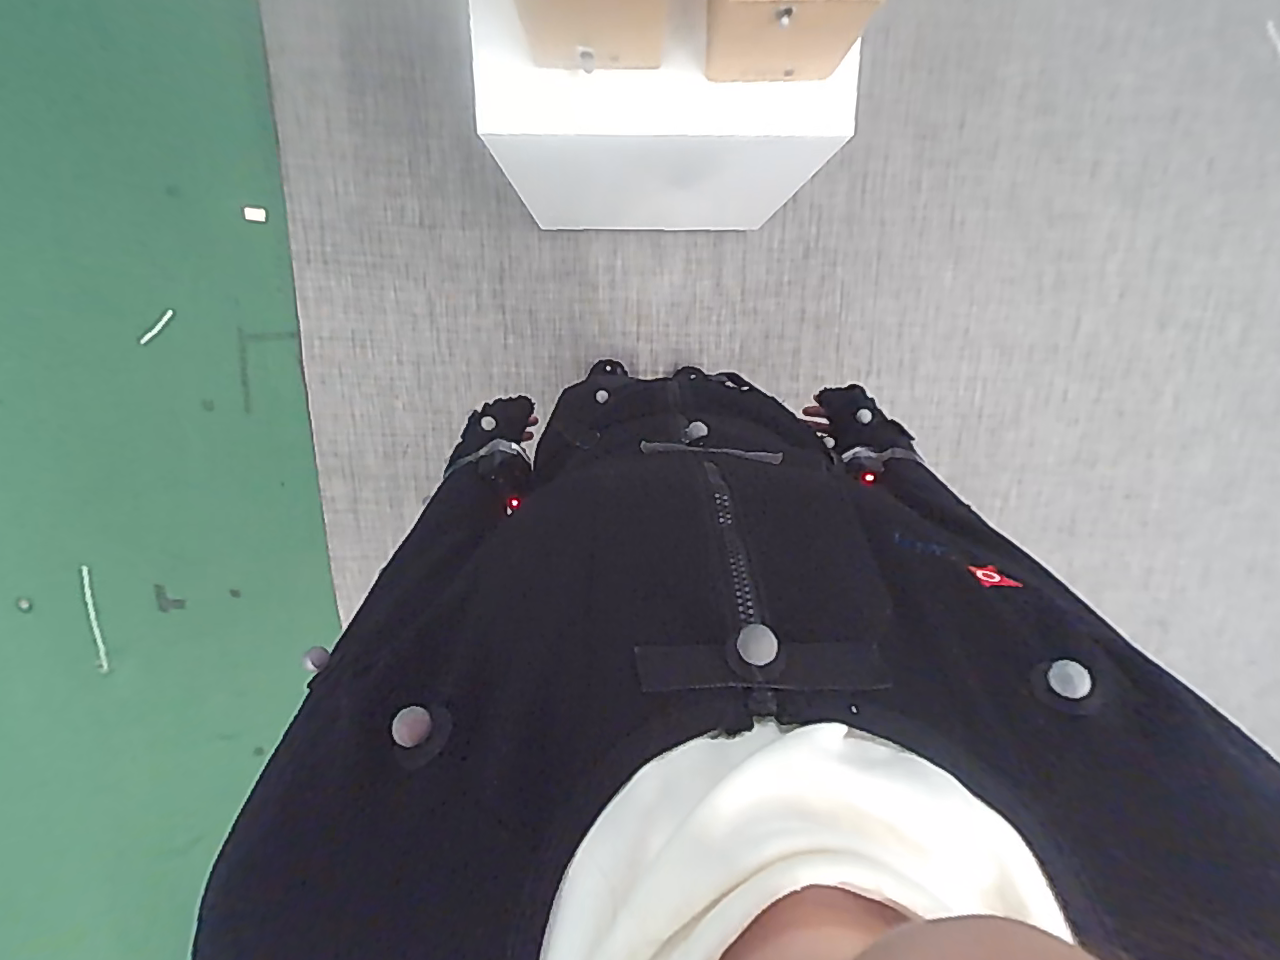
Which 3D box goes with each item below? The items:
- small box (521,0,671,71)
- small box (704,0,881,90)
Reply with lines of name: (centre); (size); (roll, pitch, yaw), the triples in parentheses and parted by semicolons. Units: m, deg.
small box: (-0.052, -0.600, 0.604); (0.168, 0.176, 0.179); (-2, 103, 0)
small box: (0.167, -0.593, 0.623); (0.168, 0.176, 0.179); (-1, 101, -1)
